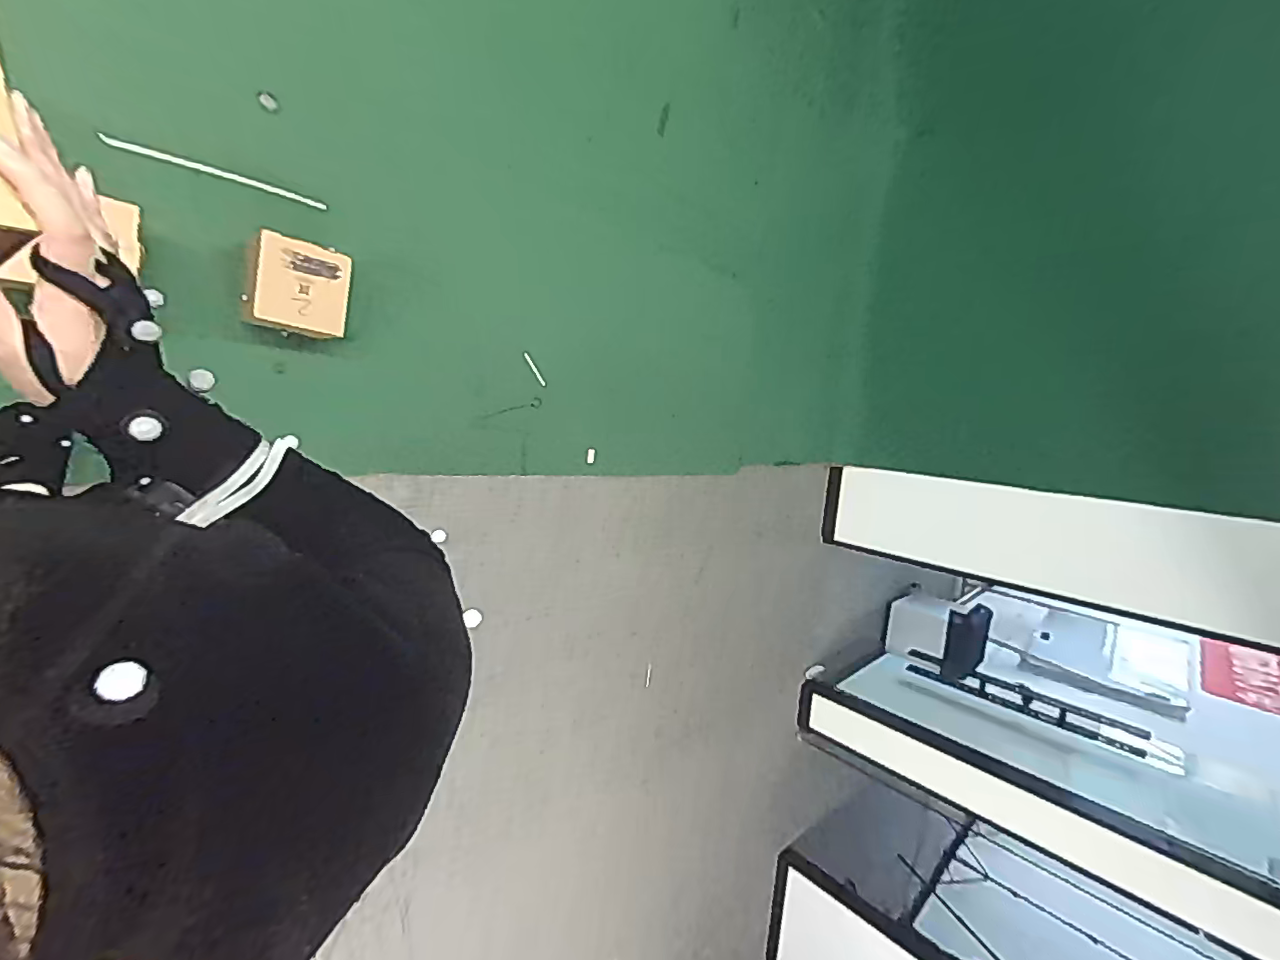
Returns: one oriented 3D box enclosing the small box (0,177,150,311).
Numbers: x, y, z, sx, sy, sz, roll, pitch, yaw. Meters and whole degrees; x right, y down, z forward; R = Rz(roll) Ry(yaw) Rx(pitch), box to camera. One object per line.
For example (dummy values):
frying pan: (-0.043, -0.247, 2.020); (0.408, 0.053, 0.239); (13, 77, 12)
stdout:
small box: (-0.989, -0.400, 0.955); (0.179, 0.176, 0.168); (1, 98, -43)
